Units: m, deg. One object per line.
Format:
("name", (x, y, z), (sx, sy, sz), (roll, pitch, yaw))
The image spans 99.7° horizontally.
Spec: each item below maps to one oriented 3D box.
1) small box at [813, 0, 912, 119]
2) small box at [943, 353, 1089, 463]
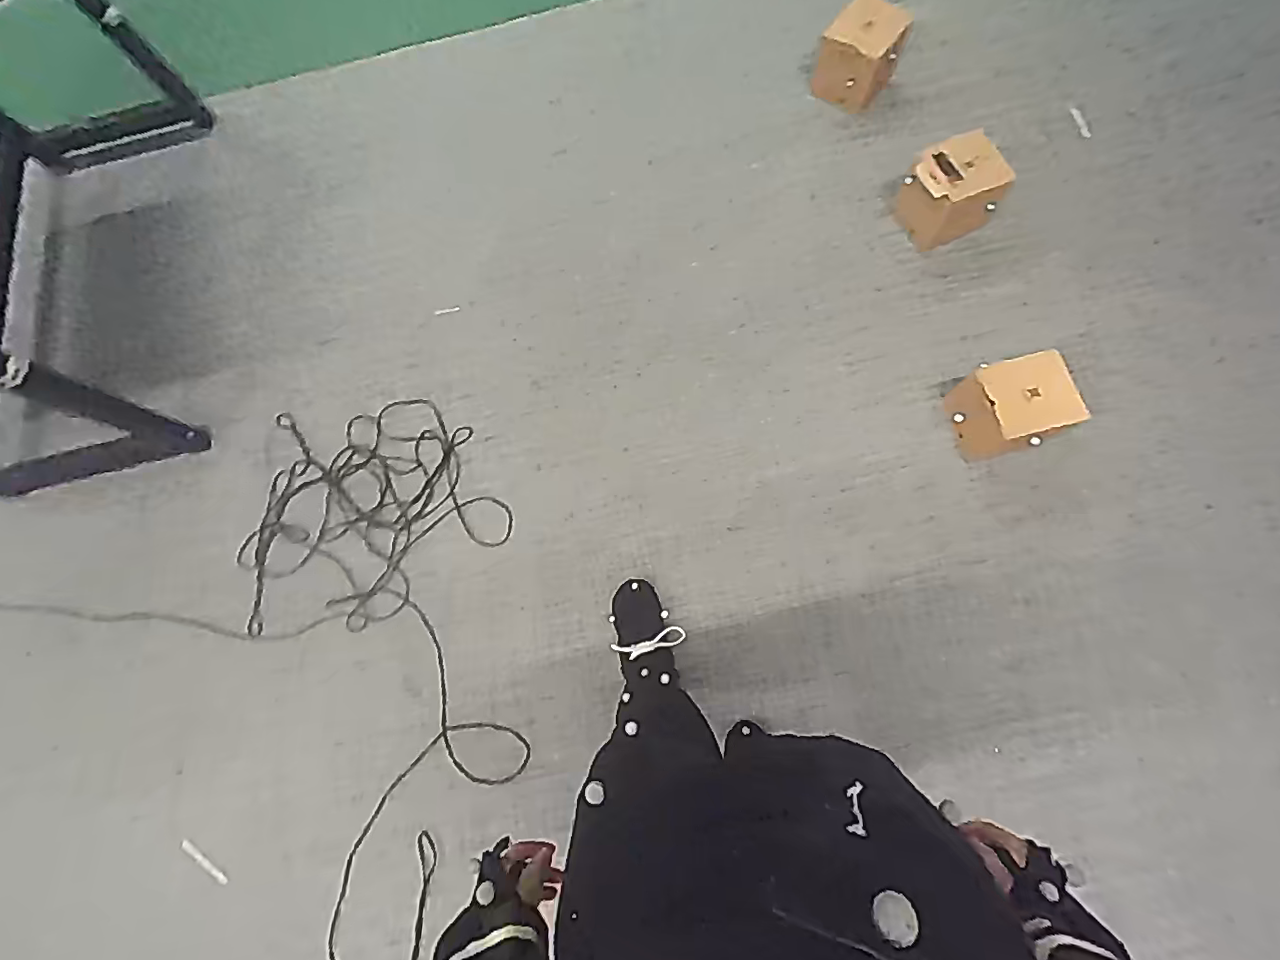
("small box", (0.595, -1.141, 1.477), (0.168, 0.176, 0.179), (37, 80, 12))
("small box", (0.810, -0.151, 1.186), (0.179, 0.176, 0.168), (-14, 74, 2))
